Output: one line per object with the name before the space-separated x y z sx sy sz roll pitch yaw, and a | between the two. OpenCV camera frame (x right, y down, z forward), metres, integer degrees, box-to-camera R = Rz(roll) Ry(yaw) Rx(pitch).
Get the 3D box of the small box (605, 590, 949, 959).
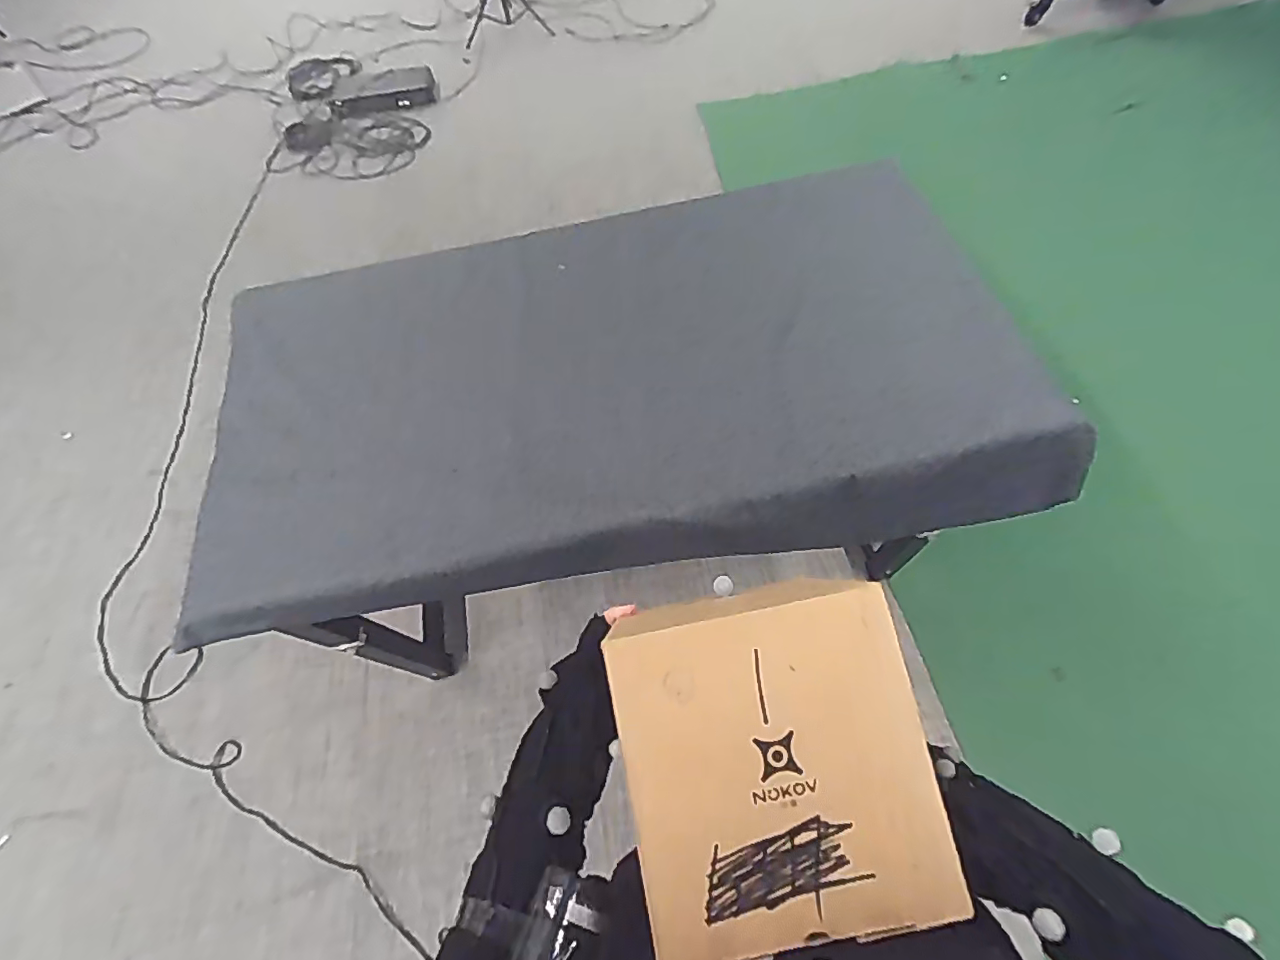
small box | 0.075 0.179 0.382 0.168 0.176 0.179 -10 79 -1
